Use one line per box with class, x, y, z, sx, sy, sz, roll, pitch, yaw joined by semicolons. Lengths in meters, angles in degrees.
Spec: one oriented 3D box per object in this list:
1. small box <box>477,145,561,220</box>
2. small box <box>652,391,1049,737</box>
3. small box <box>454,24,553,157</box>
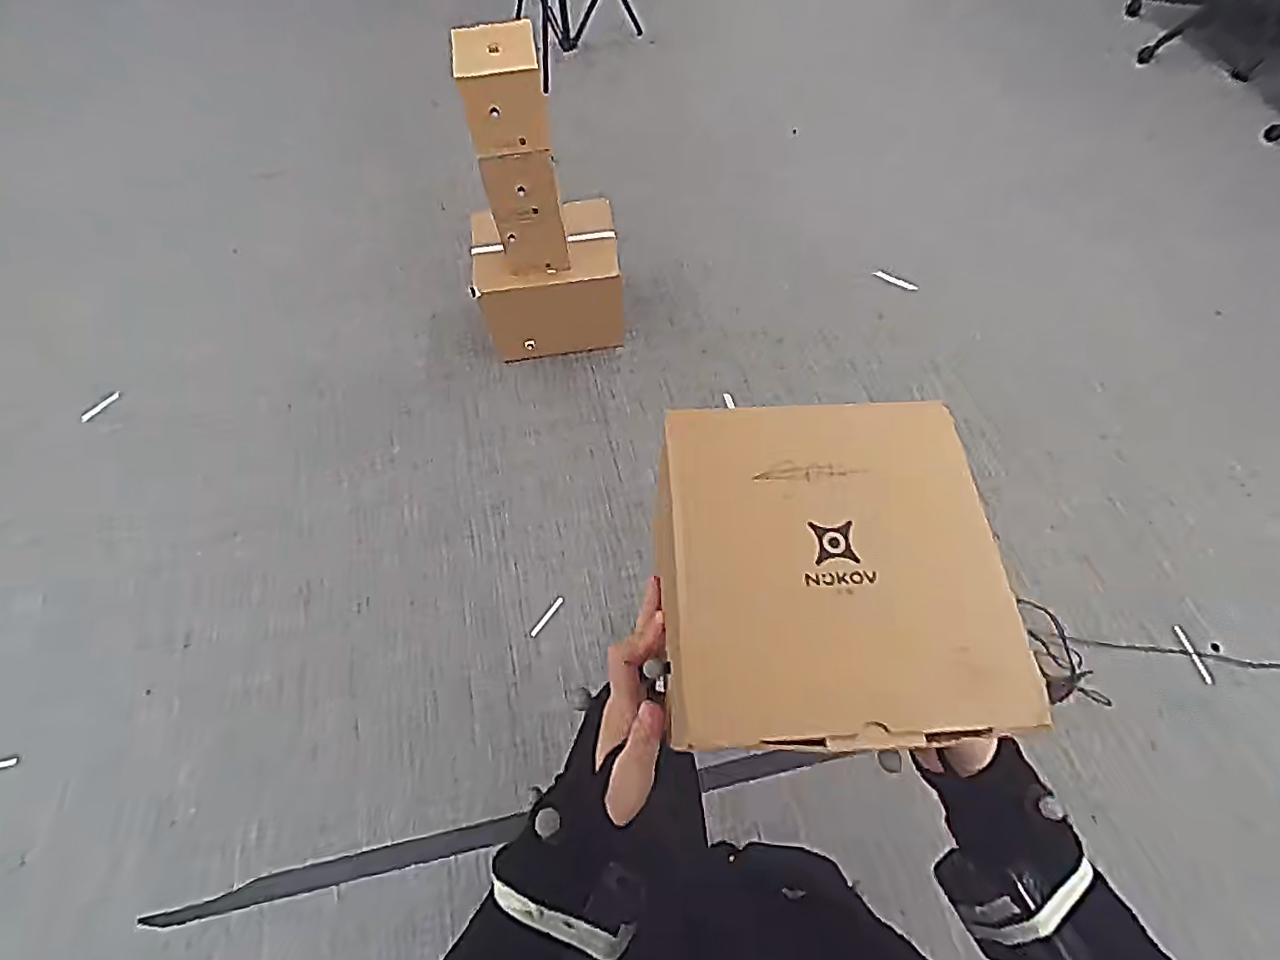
small box;-0.287;-0.750;1.299;0.168;0.176;0.179;-7;66;-3
small box;0.096;0.064;0.346;0.168;0.176;0.179;-2;63;-3
small box;-0.285;-0.817;1.149;0.168;0.176;0.179;-10;65;-3
